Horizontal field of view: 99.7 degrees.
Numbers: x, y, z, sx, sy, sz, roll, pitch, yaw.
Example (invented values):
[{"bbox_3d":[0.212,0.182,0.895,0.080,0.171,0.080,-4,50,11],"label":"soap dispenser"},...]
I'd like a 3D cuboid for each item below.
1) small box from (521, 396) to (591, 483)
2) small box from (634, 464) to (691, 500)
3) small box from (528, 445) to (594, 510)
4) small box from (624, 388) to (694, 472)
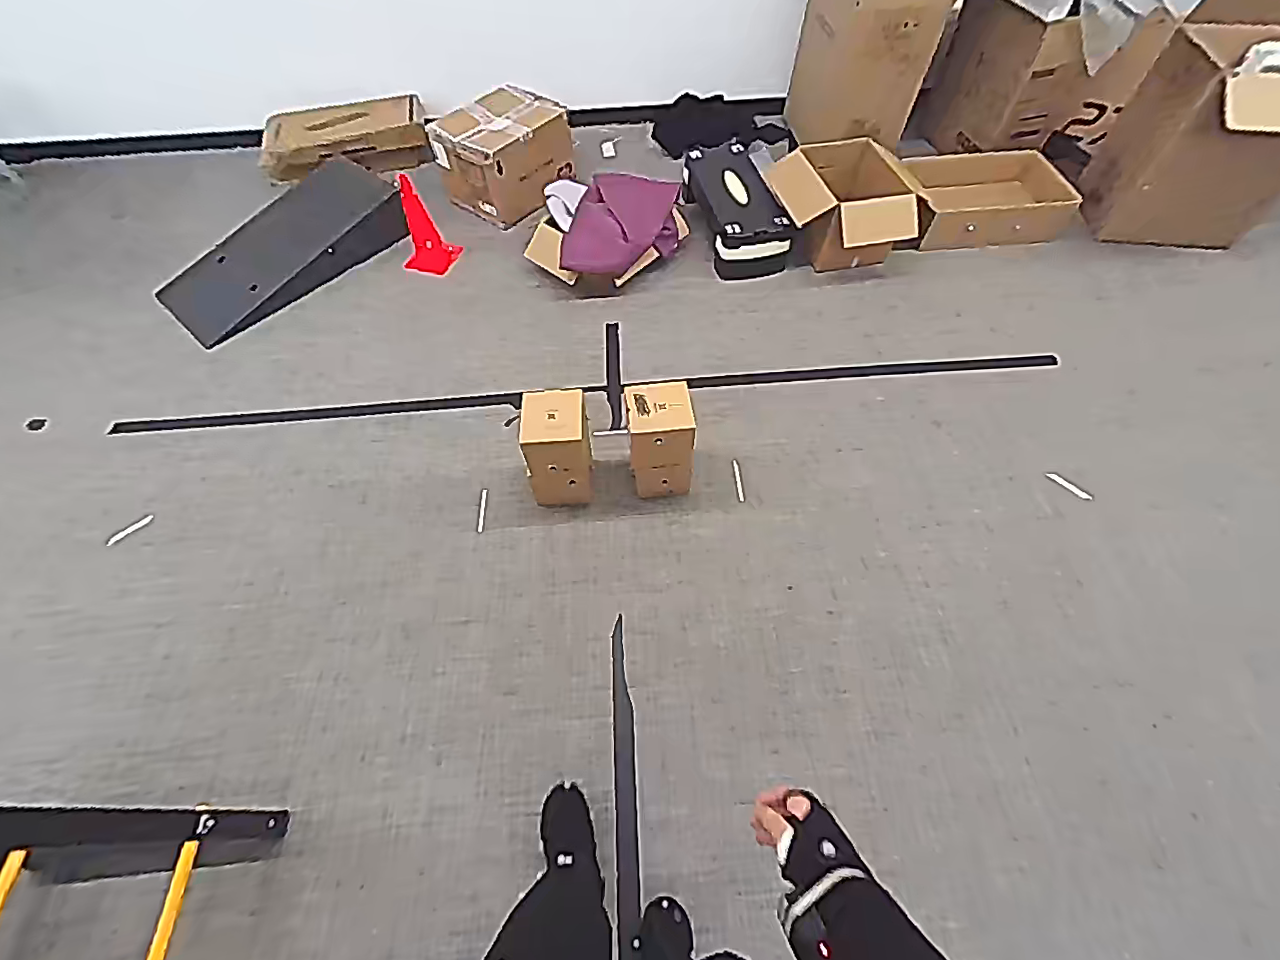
[{"bbox_3d":[-0.231,-0.112,1.520,0.168,0.176,0.179,-4,59,0],"label":"small box"},{"bbox_3d":[0.063,-0.050,1.669,0.168,0.176,0.179,-6,58,-2],"label":"small box"},{"bbox_3d":[-0.234,-0.020,1.654,0.179,0.176,0.168,-3,57,0],"label":"small box"},{"bbox_3d":[0.053,-0.136,1.527,0.179,0.176,0.168,-5,57,-3],"label":"small box"}]
